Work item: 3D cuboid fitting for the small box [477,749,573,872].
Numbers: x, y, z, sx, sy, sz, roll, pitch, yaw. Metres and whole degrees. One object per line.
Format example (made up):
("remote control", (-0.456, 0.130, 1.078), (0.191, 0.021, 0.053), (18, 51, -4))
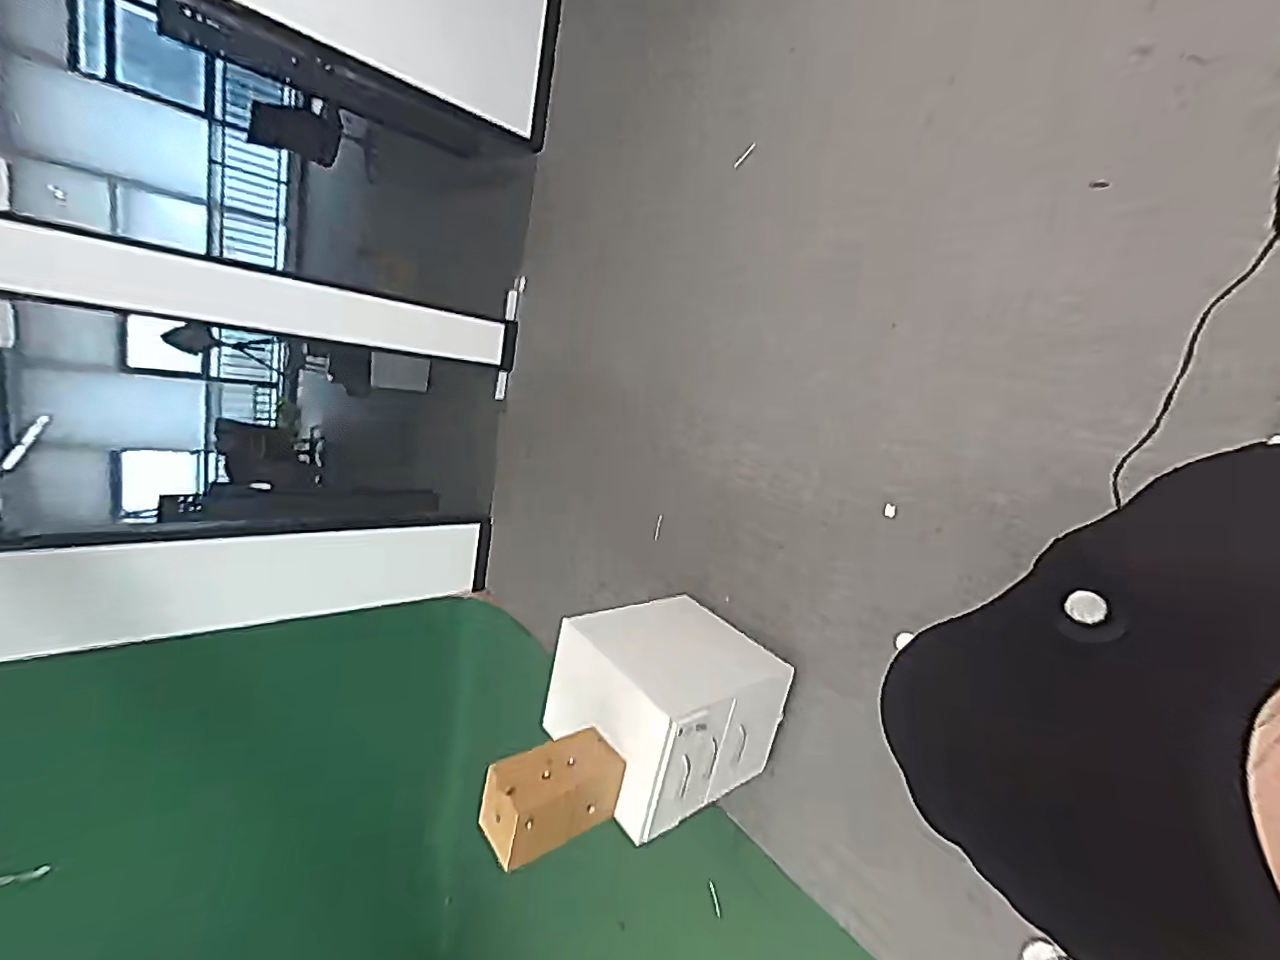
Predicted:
("small box", (-0.288, 0.822, 1.363), (0.168, 0.176, 0.179), (26, 107, 46))

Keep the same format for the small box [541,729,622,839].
("small box", (-0.169, 0.819, 1.475), (0.168, 0.176, 0.179), (25, 108, 46))
